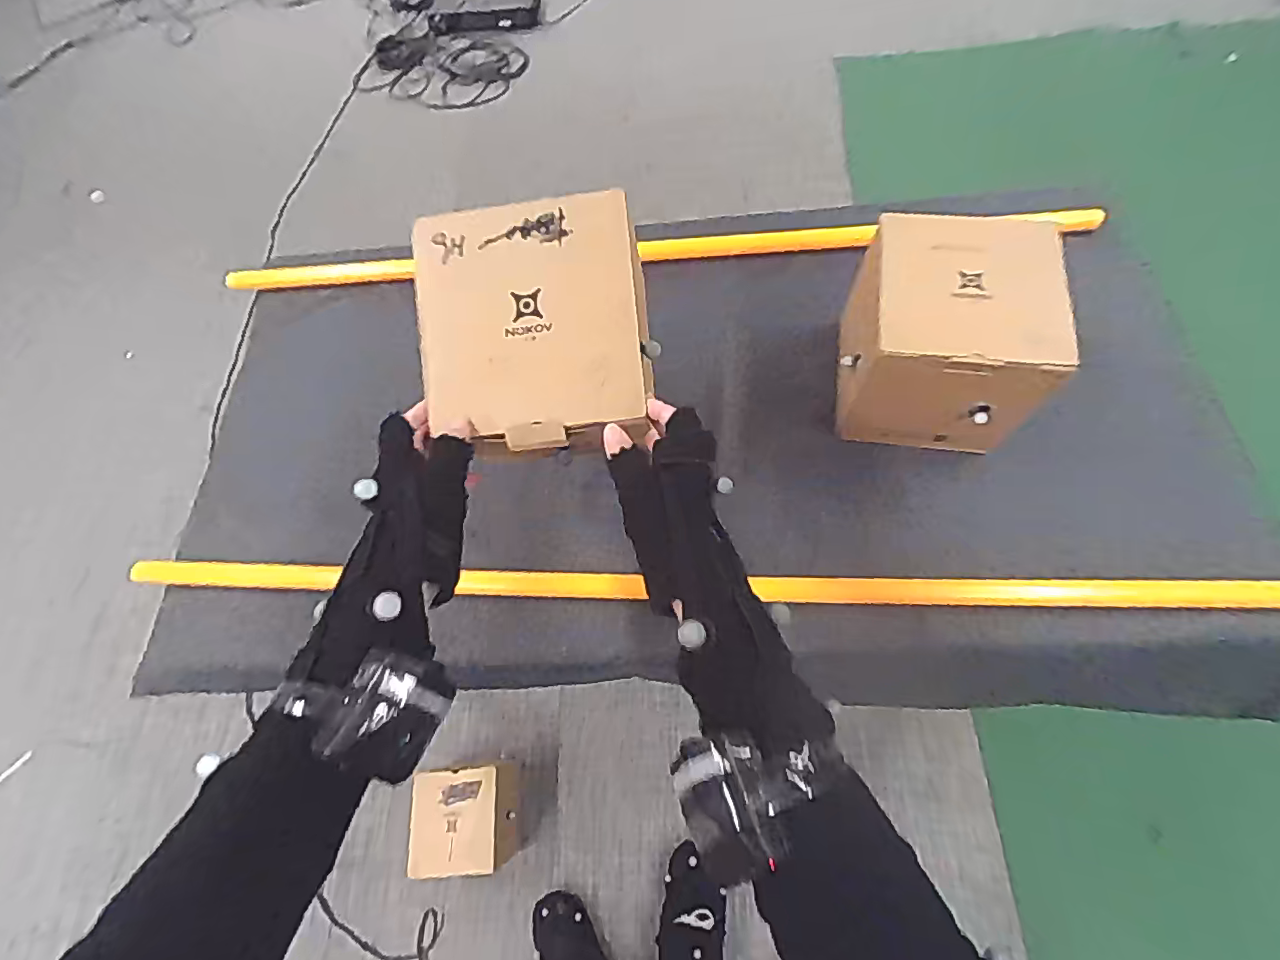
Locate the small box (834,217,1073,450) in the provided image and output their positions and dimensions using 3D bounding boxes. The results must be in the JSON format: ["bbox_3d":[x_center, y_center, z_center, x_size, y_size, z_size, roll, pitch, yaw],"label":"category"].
[{"bbox_3d":[0.313,-0.148,0.580,0.168,0.176,0.179,7,66,8],"label":"small box"}]
